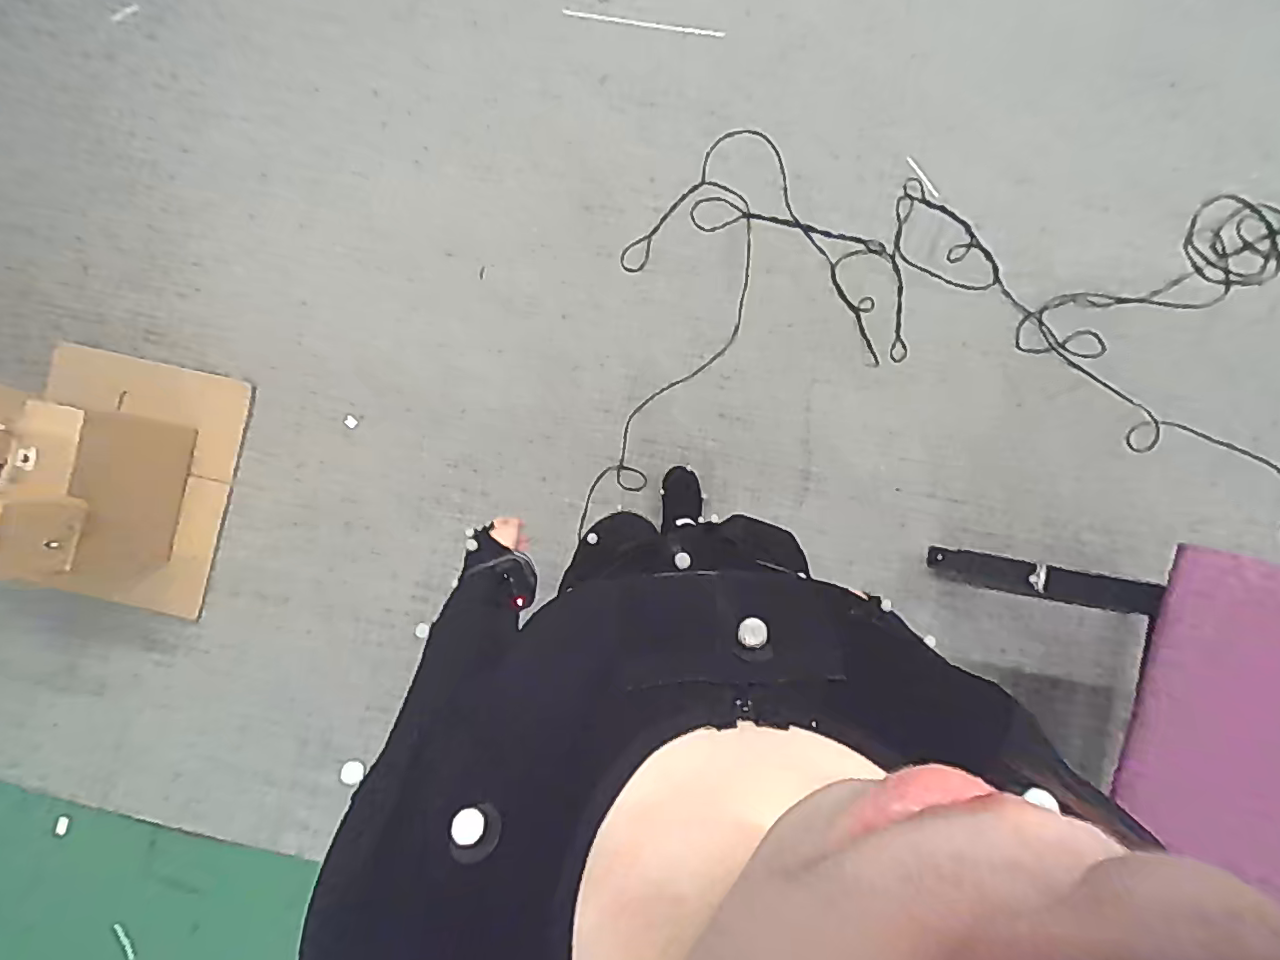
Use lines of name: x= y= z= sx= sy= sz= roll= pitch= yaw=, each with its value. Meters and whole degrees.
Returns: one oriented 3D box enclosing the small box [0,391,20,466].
small box: x=-1.513 y=-0.133 z=1.160 sx=0.168 sy=0.176 sz=0.179 roll=15 pitch=91 yaw=3
